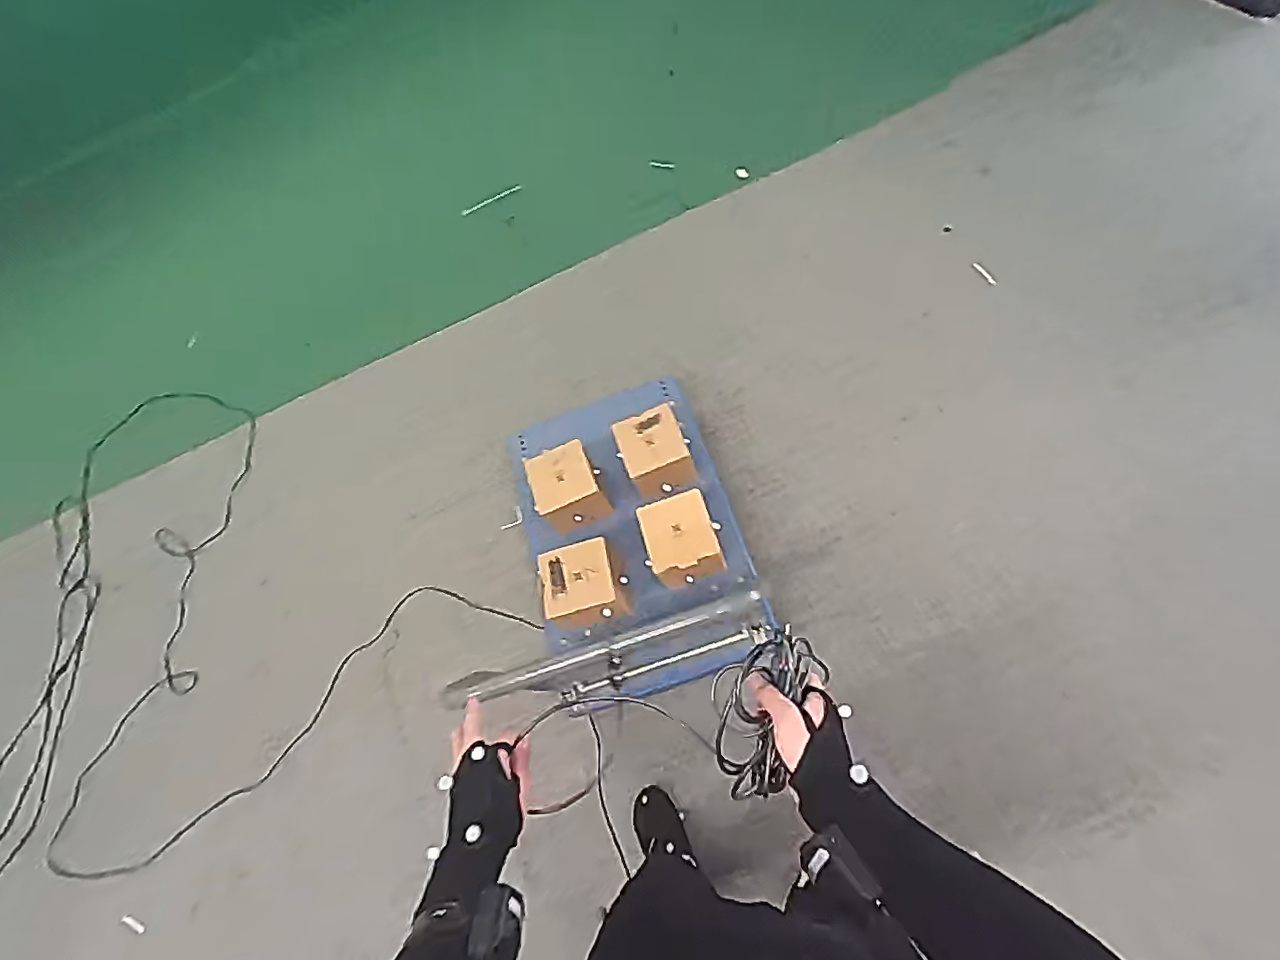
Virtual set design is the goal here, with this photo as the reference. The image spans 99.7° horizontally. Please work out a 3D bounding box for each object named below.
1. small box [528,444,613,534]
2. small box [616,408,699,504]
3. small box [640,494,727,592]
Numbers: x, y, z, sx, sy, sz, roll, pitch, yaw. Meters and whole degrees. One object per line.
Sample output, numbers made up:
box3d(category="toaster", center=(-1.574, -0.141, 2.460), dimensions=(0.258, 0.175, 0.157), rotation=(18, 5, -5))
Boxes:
box3d(category="small box", center=(-0.188, 0.034, 1.504), dimensions=(0.168, 0.176, 0.179), rotation=(-23, 62, 2))
box3d(category="small box", center=(0.051, -0.061, 1.487), dimensions=(0.168, 0.176, 0.179), rotation=(-22, 63, 4))
box3d(category="small box", center=(0.113, 0.165, 1.369), dimensions=(0.168, 0.176, 0.179), rotation=(-19, 63, 5))
